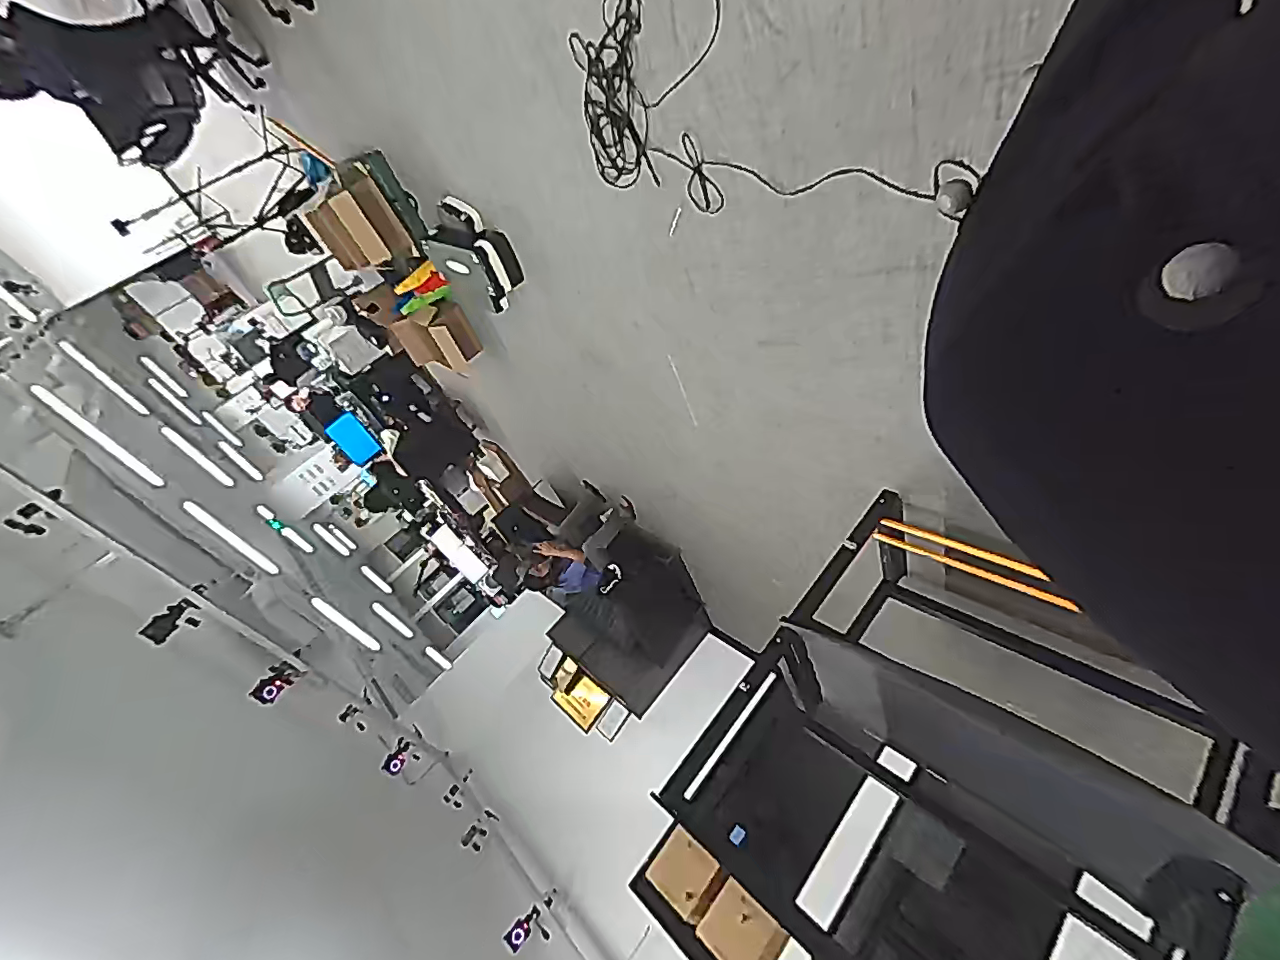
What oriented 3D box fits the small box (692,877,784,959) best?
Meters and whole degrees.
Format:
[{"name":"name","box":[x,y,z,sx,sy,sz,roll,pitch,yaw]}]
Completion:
[{"name":"small box","box":[0.277,1.250,1.493,0.168,0.176,0.179,22,149,45]}]
